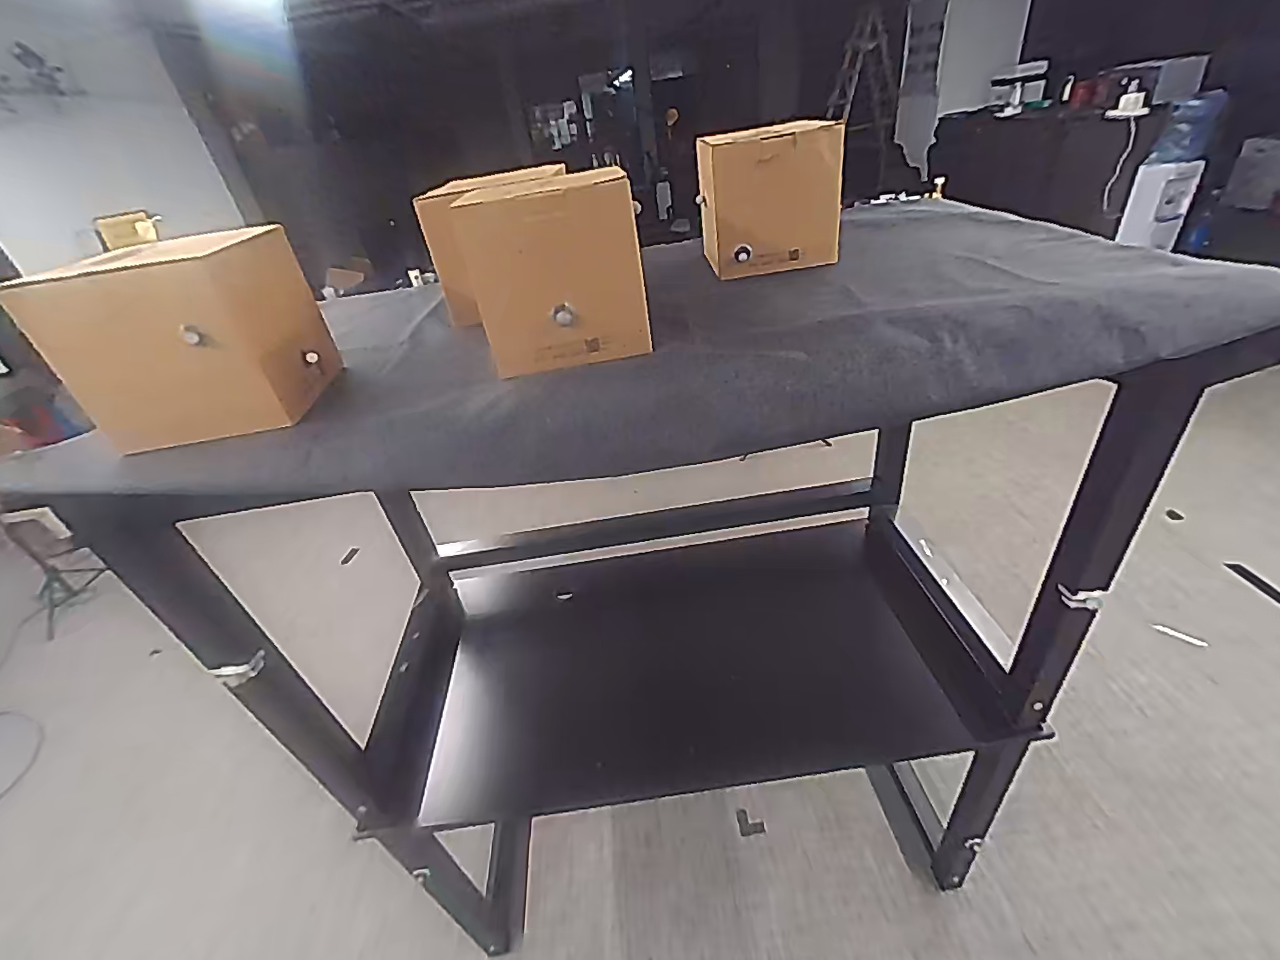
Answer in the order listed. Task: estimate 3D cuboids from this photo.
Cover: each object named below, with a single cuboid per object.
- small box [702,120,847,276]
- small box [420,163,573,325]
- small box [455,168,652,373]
[{"bbox_3d":[0.185,-0.402,0.778,0.168,0.176,0.179,-7,34,3],"label":"small box"},{"bbox_3d":[-0.176,-0.336,0.771,0.179,0.176,0.168,-6,35,5],"label":"small box"},{"bbox_3d":[-0.082,-0.234,0.596,0.168,0.176,0.179,-9,34,0],"label":"small box"}]
